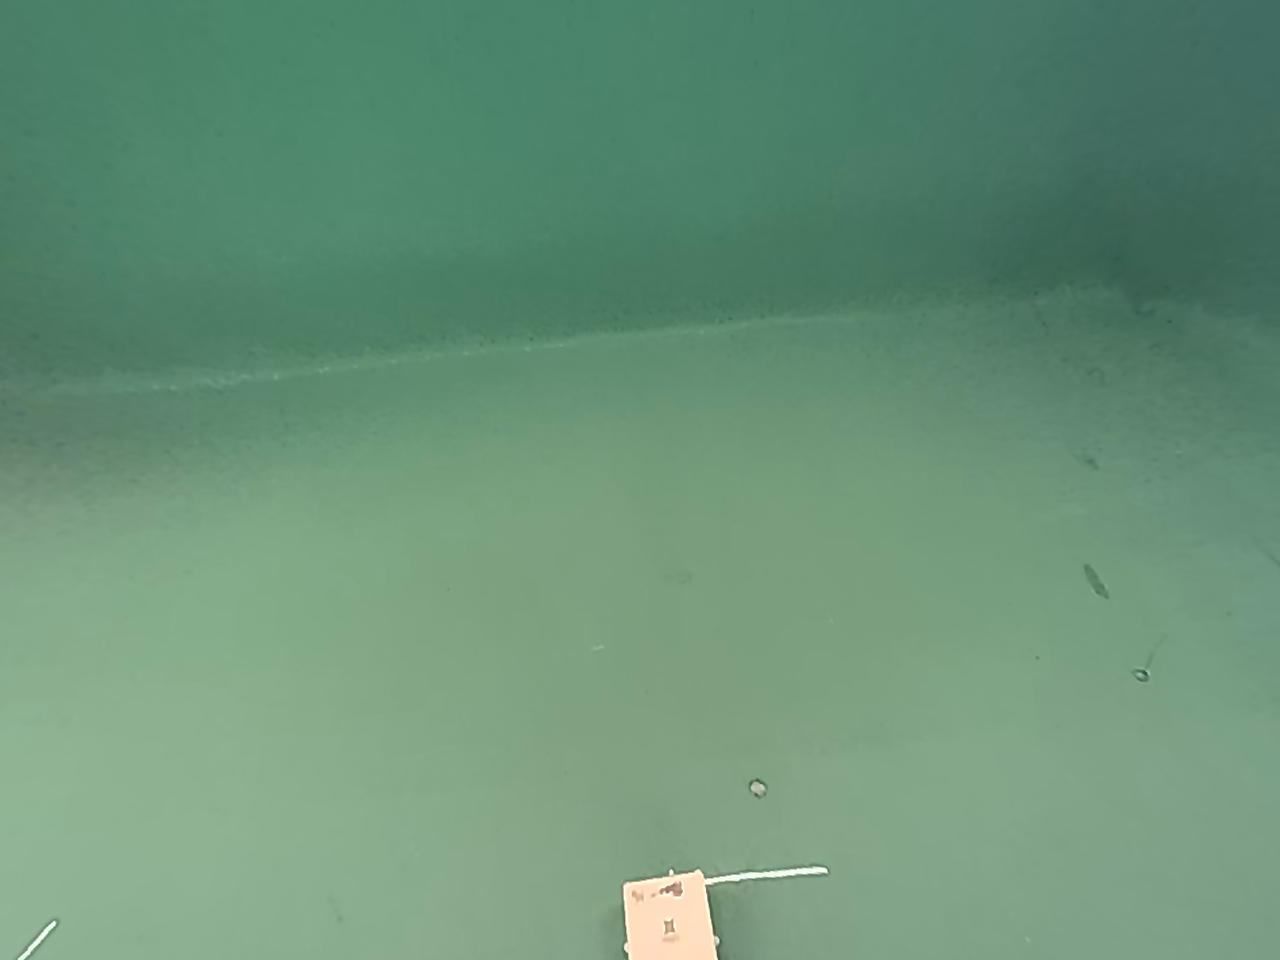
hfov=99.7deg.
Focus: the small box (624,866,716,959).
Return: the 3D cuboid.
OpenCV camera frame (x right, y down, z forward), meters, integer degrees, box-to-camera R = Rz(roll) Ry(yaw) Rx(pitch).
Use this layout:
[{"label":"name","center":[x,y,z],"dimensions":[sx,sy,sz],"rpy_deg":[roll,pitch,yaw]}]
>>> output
[{"label":"small box","center":[0.062,0.904,1.087],"dimensions":[0.168,0.176,0.179],"rpy_deg":[-7,46,-1]}]
